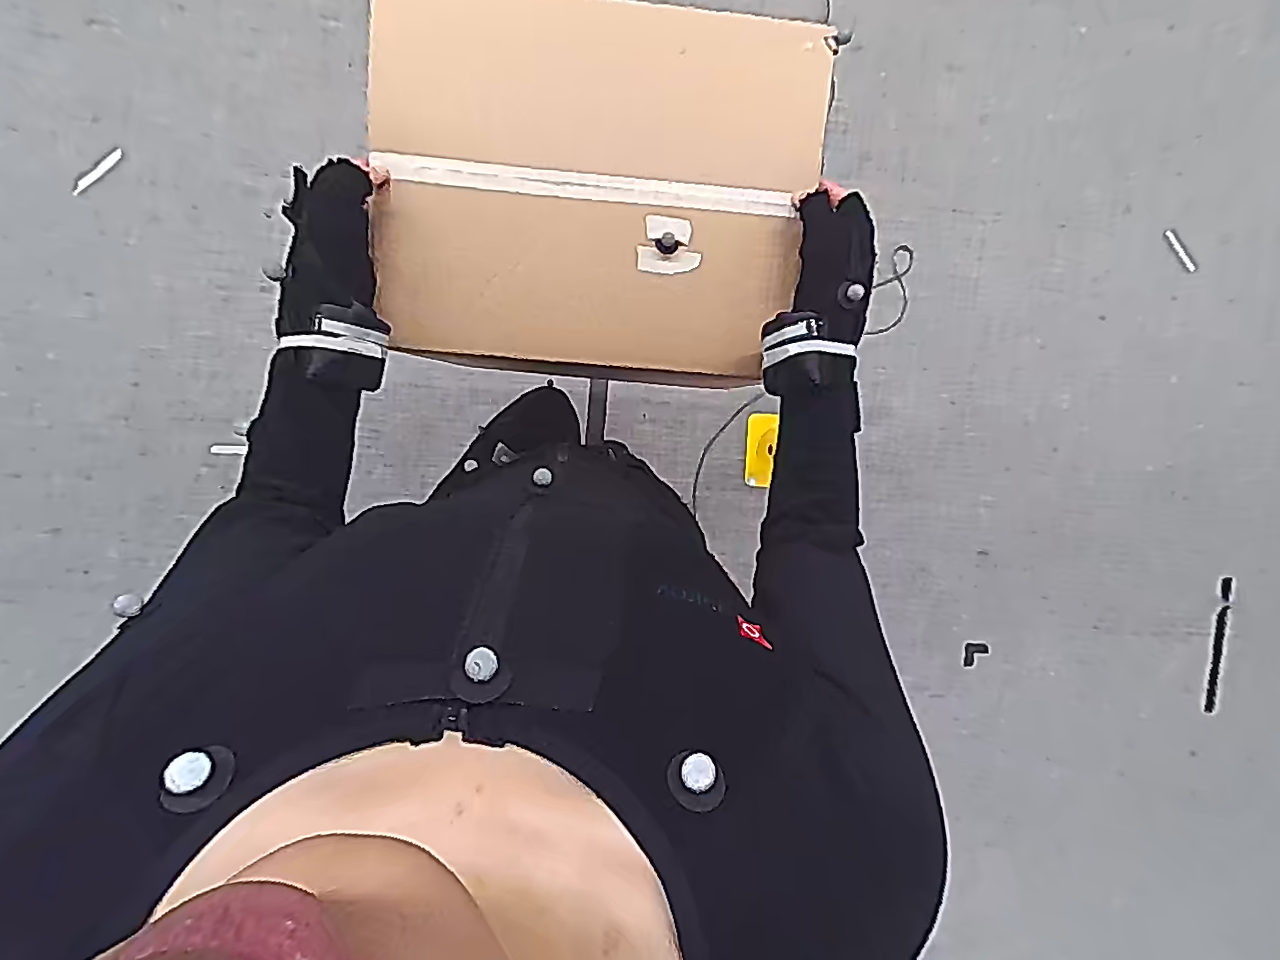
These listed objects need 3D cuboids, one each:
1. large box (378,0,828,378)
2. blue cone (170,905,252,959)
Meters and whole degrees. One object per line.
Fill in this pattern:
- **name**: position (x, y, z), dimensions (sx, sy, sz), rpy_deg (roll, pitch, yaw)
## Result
- **large box**: position (-0.046, -0.297, 0.641), dimensions (0.408, 0.320, 0.320), rpy_deg (4, 98, -4)
- **blue cone**: position (-1.161, 1.269, 1.318), dimensions (0.192, 0.380, 0.193), rpy_deg (7, 92, -1)
